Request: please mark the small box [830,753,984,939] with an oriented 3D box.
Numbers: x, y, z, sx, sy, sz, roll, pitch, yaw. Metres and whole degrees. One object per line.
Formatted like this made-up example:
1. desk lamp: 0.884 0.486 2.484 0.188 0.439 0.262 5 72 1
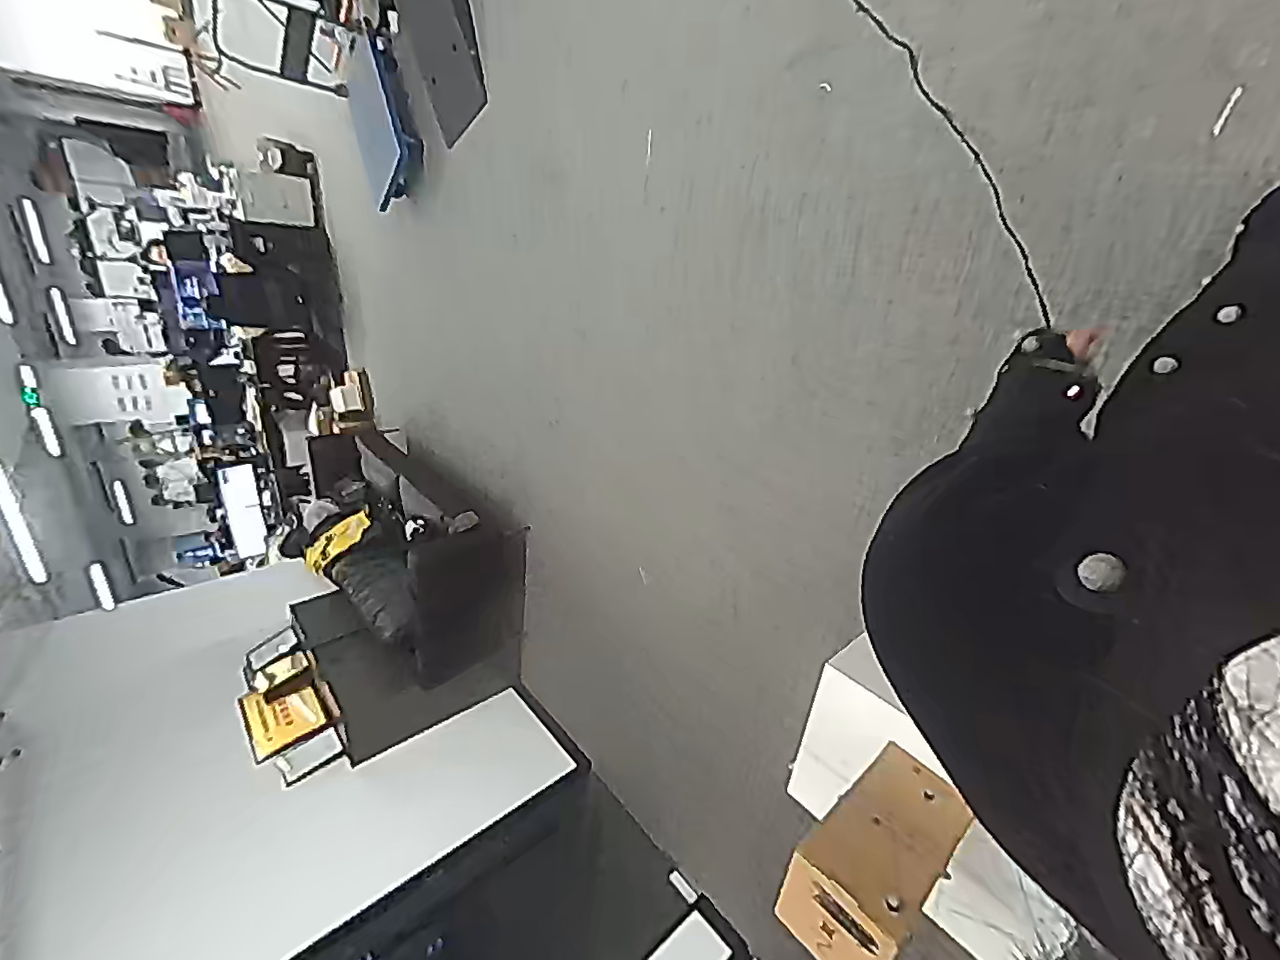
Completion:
1. small box: 0.470 0.632 0.954 0.168 0.176 0.179 31 124 40
